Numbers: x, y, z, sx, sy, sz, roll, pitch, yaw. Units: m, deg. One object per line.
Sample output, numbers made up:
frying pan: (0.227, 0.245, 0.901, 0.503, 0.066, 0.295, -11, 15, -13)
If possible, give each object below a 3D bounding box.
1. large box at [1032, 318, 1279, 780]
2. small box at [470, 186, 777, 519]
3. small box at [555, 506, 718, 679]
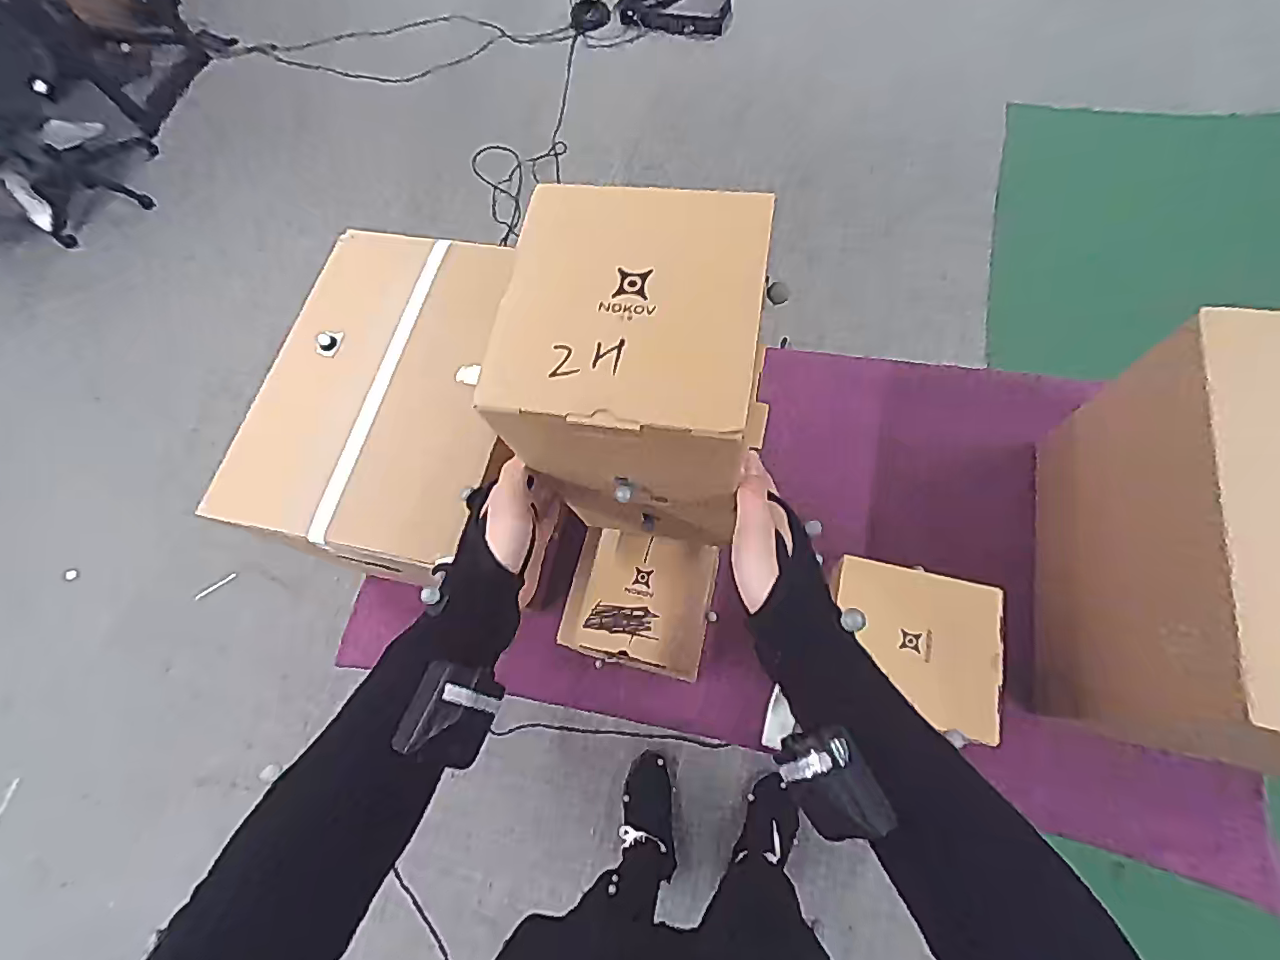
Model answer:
large box: (0.676, 0.096, 0.588, 0.320, 0.320, 0.408, 11, 70, 13)
small box: (0.002, -0.084, 0.408, 0.168, 0.176, 0.179, 8, 73, 10)
small box: (0.007, 0.157, 0.718, 0.168, 0.176, 0.179, 11, 68, 11)
